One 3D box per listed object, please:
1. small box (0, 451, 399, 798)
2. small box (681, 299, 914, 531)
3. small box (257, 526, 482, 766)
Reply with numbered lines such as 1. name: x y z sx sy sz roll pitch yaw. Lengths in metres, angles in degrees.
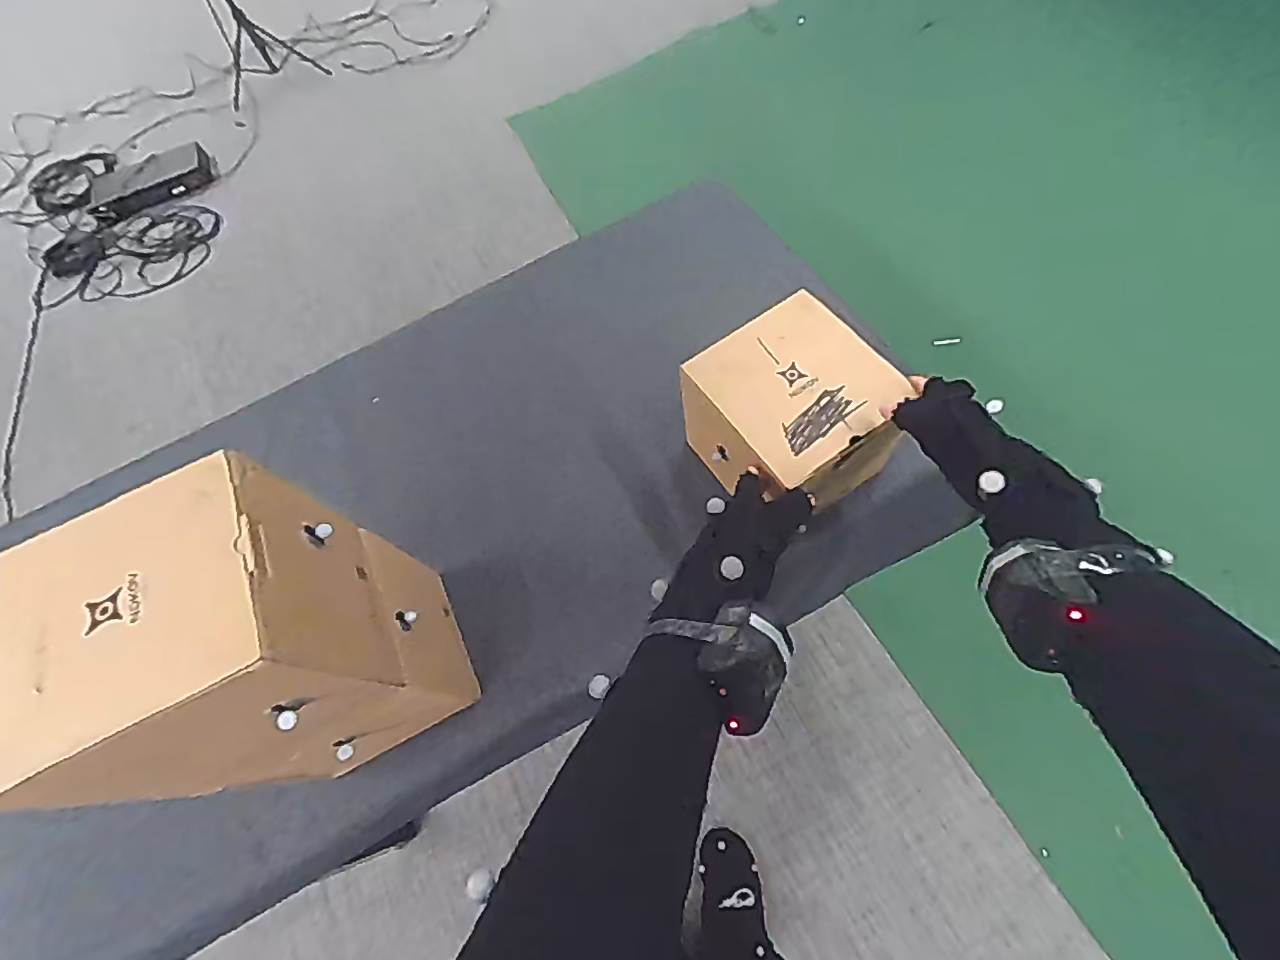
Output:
1. small box: -0.314 0.114 0.420 0.179 0.176 0.168 -28 63 -5
2. small box: 0.166 -0.061 0.619 0.168 0.176 0.179 -32 65 -7
3. small box: -0.296 0.181 0.566 0.179 0.176 0.168 -27 64 -6
